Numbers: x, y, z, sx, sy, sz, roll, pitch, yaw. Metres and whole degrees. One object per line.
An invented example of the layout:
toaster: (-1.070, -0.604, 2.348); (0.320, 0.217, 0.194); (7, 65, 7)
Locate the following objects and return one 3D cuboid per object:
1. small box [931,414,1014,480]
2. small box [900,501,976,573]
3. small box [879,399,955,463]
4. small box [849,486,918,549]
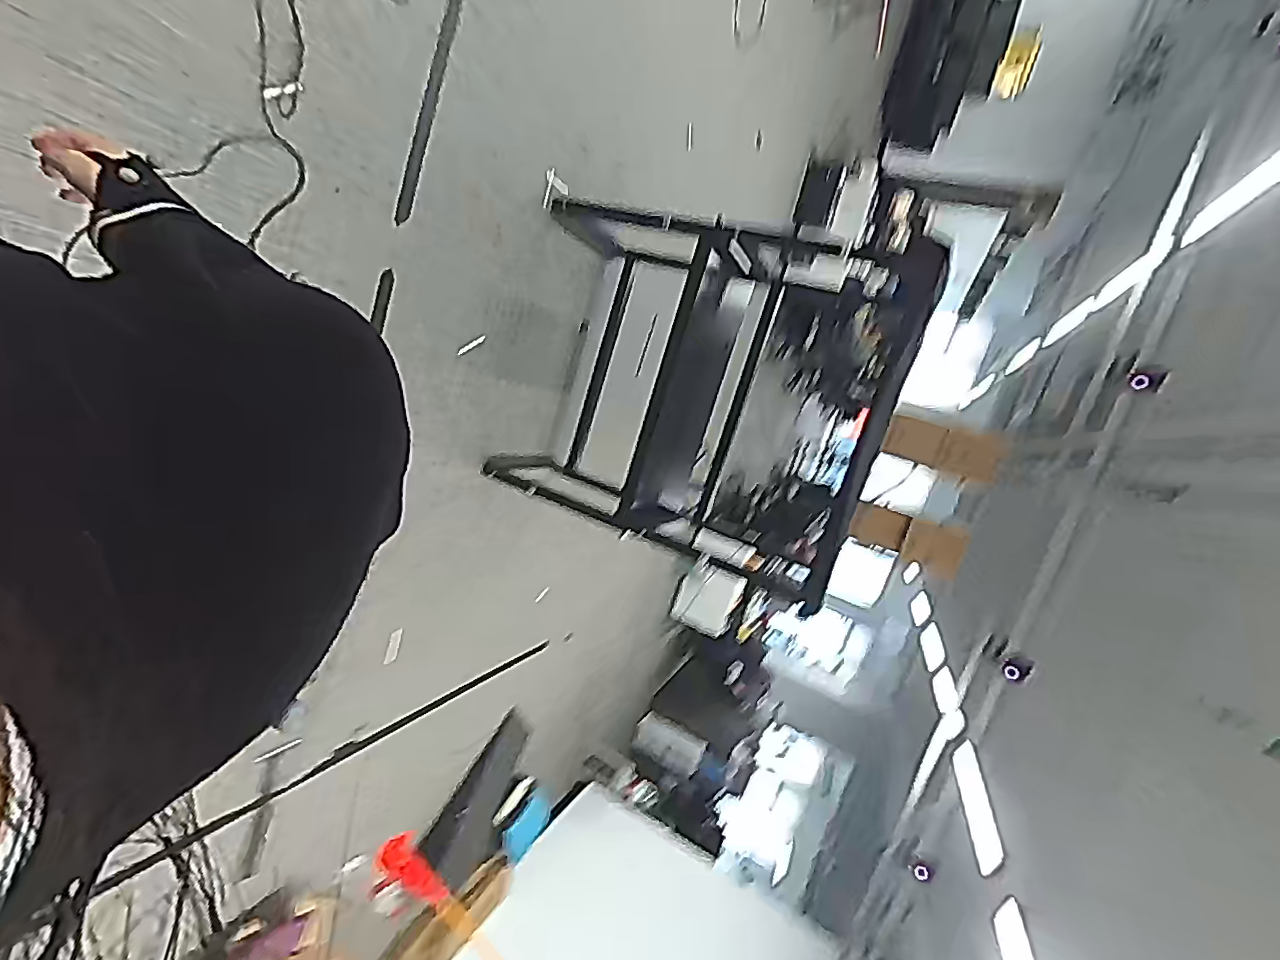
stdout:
small box: (1.040, -0.104, 1.709); (0.179, 0.176, 0.168); (-4, 113, -68)
small box: (0.940, 0.176, 1.727); (0.179, 0.176, 0.168); (-11, 120, -66)
small box: (0.895, -0.159, 1.764); (0.179, 0.176, 0.168); (-4, 112, -68)
small box: (0.810, 0.124, 1.816); (0.179, 0.176, 0.168); (5, 105, -69)
